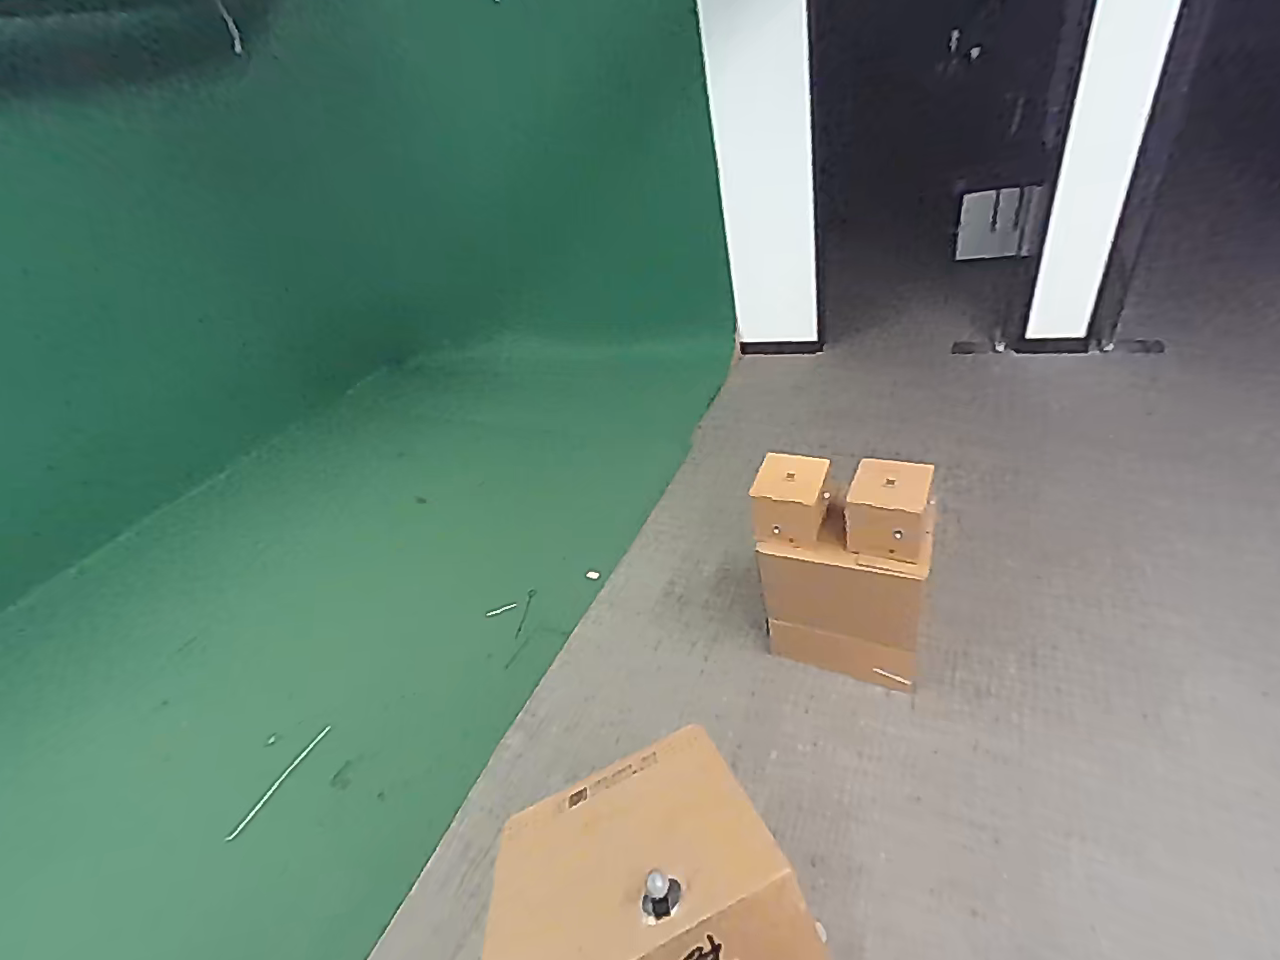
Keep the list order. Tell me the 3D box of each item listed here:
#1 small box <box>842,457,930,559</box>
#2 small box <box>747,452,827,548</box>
[{"bbox_3d":[0.605,0.068,1.328,0.168,0.176,0.179,9,42,32],"label":"small box"},{"bbox_3d":[0.393,0.052,1.433,0.168,0.176,0.179,9,45,28],"label":"small box"}]
